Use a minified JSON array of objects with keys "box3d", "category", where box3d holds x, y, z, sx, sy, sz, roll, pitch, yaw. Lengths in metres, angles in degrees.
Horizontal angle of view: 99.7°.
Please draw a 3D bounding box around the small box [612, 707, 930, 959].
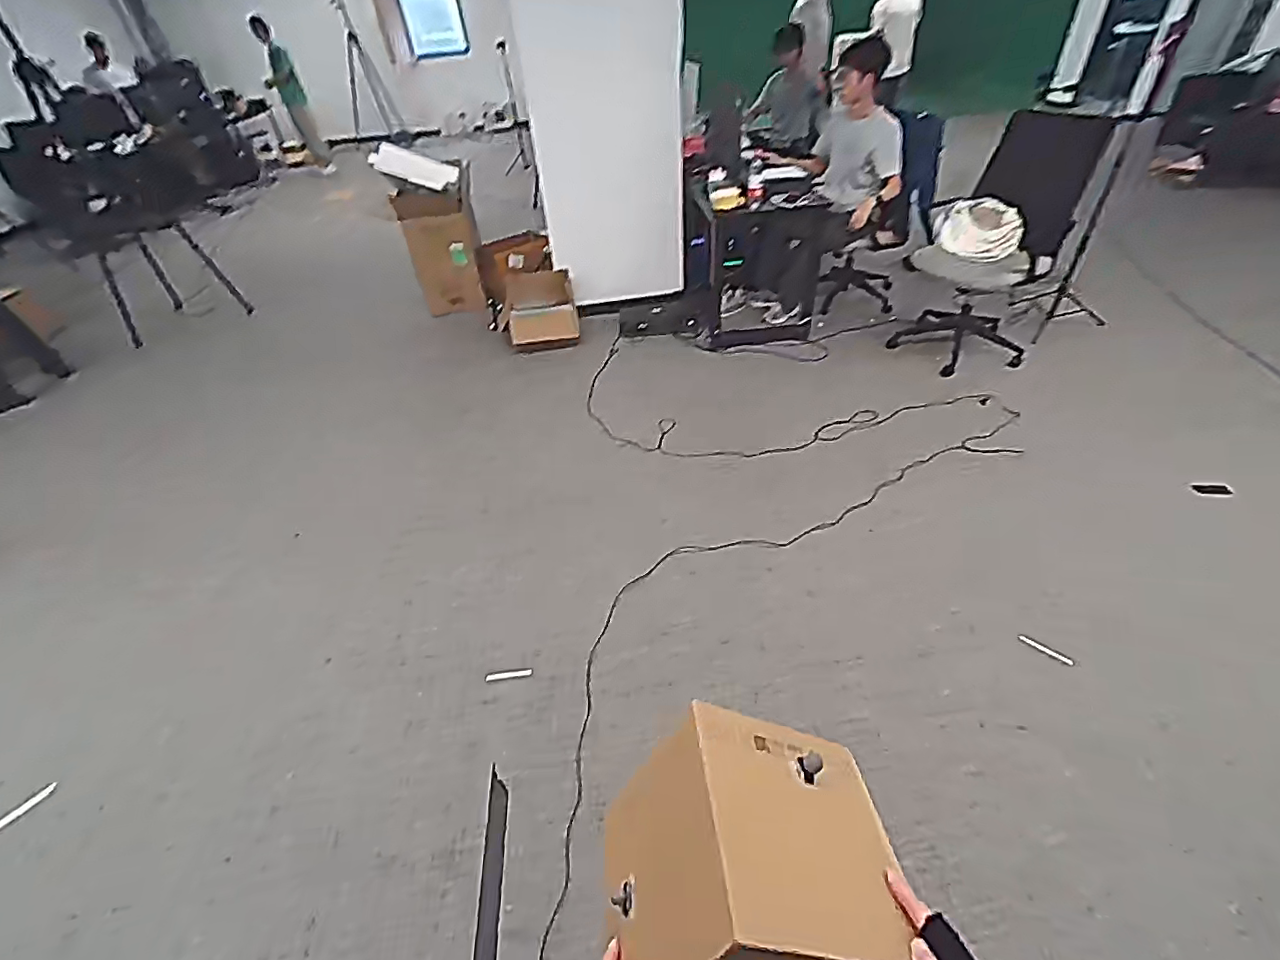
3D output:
[{"box3d":[0.085,0.321,0.435,0.168,0.179,0.176,22,25,-16],"category":"small box"}]
